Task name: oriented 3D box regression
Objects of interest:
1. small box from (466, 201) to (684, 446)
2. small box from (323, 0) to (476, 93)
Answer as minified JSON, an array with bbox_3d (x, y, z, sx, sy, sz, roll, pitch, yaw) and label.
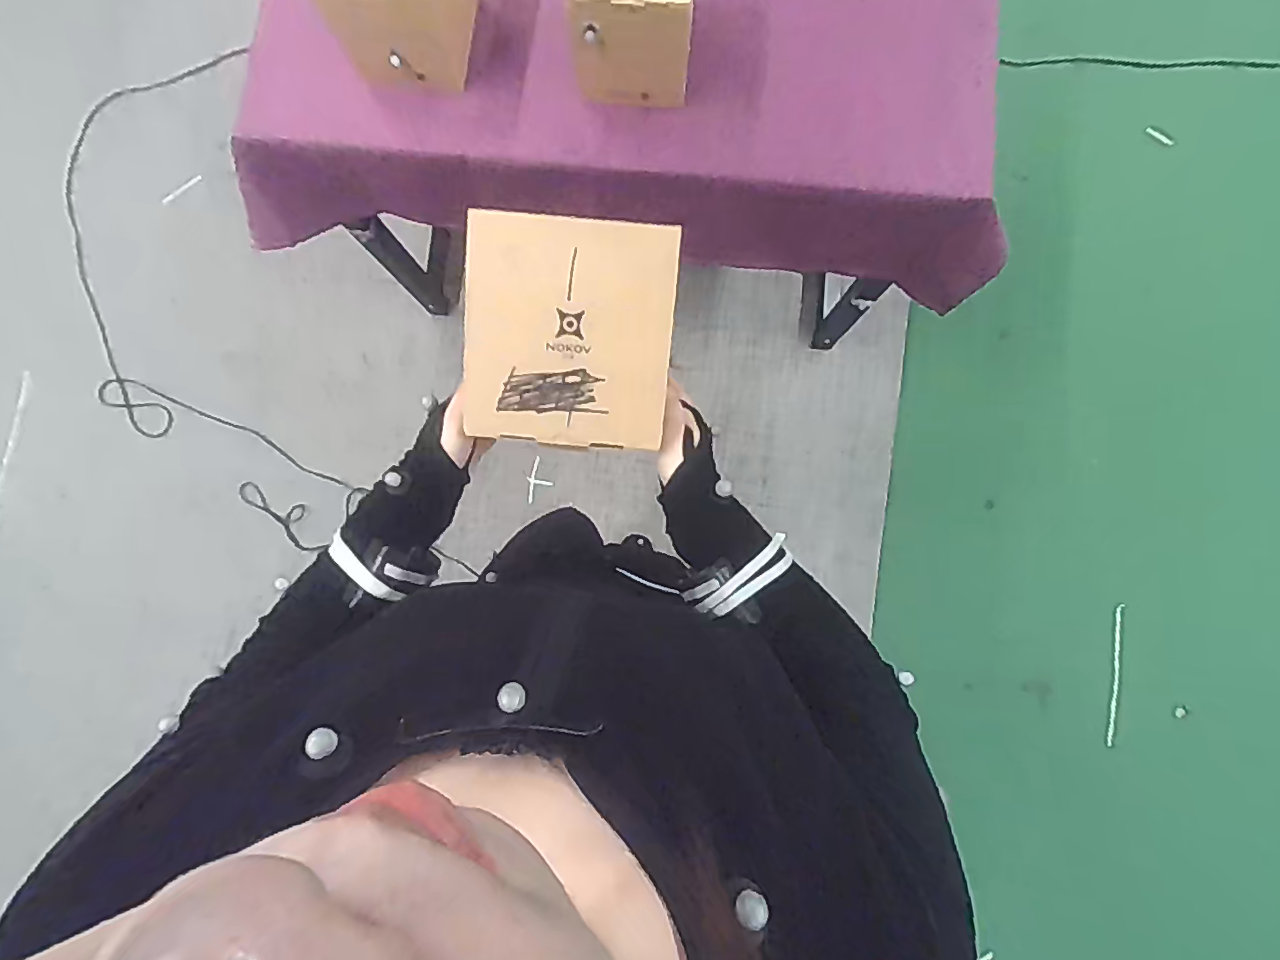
[{"bbox_3d":[-0.052,-0.135,0.503,0.168,0.176,0.179,5,101,0],"label":"small box"},{"bbox_3d":[-0.354,-0.725,0.800,0.168,0.176,0.179,7,84,2],"label":"small box"}]
